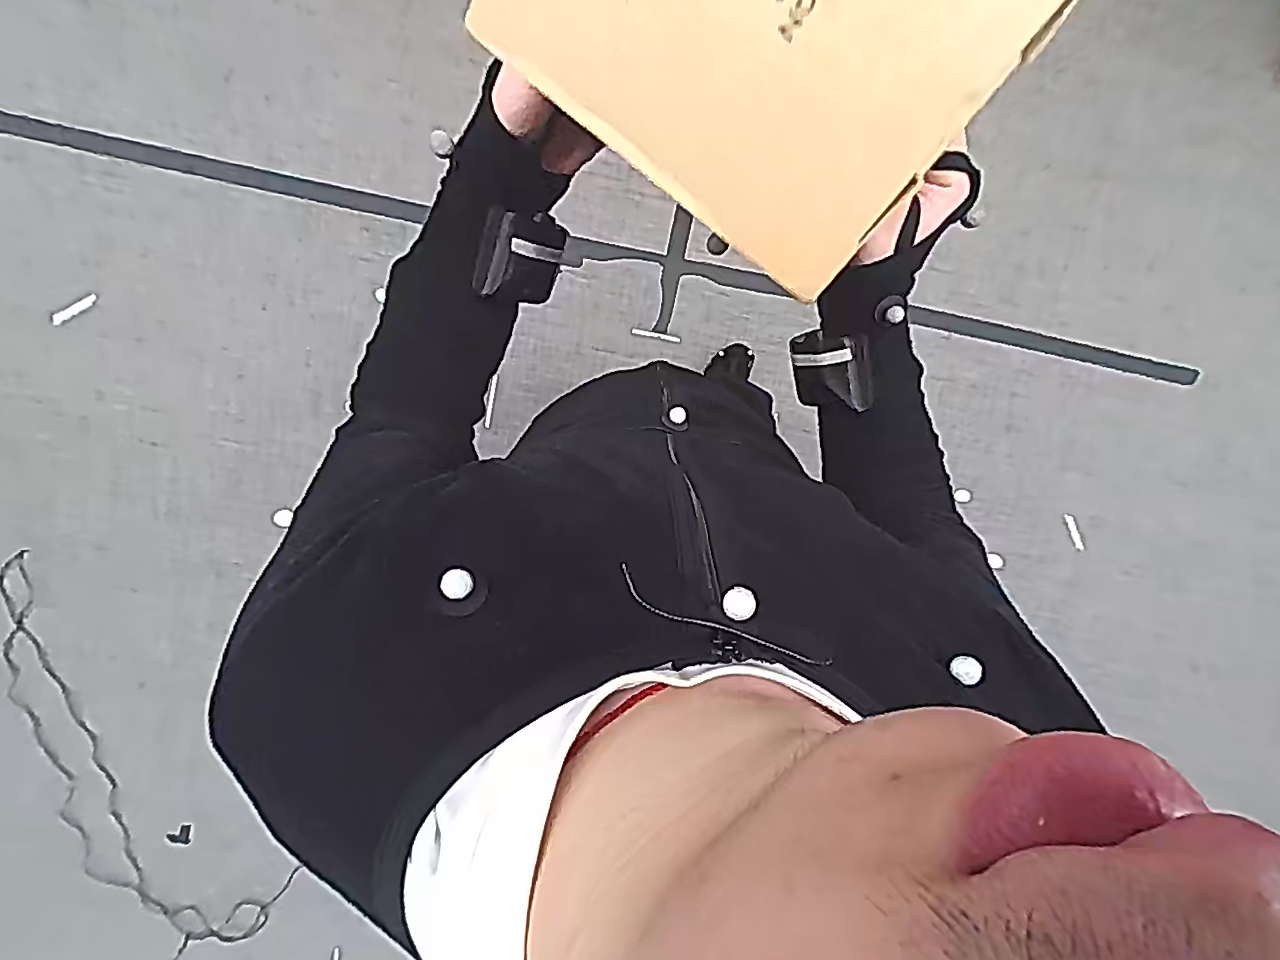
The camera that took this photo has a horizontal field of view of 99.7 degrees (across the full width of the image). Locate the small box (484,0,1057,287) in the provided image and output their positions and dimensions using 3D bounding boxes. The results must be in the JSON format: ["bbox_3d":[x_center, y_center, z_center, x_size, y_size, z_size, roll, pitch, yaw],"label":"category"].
[{"bbox_3d":[0.063,-0.225,0.260,0.179,0.176,0.168,33,117,-10],"label":"small box"}]
